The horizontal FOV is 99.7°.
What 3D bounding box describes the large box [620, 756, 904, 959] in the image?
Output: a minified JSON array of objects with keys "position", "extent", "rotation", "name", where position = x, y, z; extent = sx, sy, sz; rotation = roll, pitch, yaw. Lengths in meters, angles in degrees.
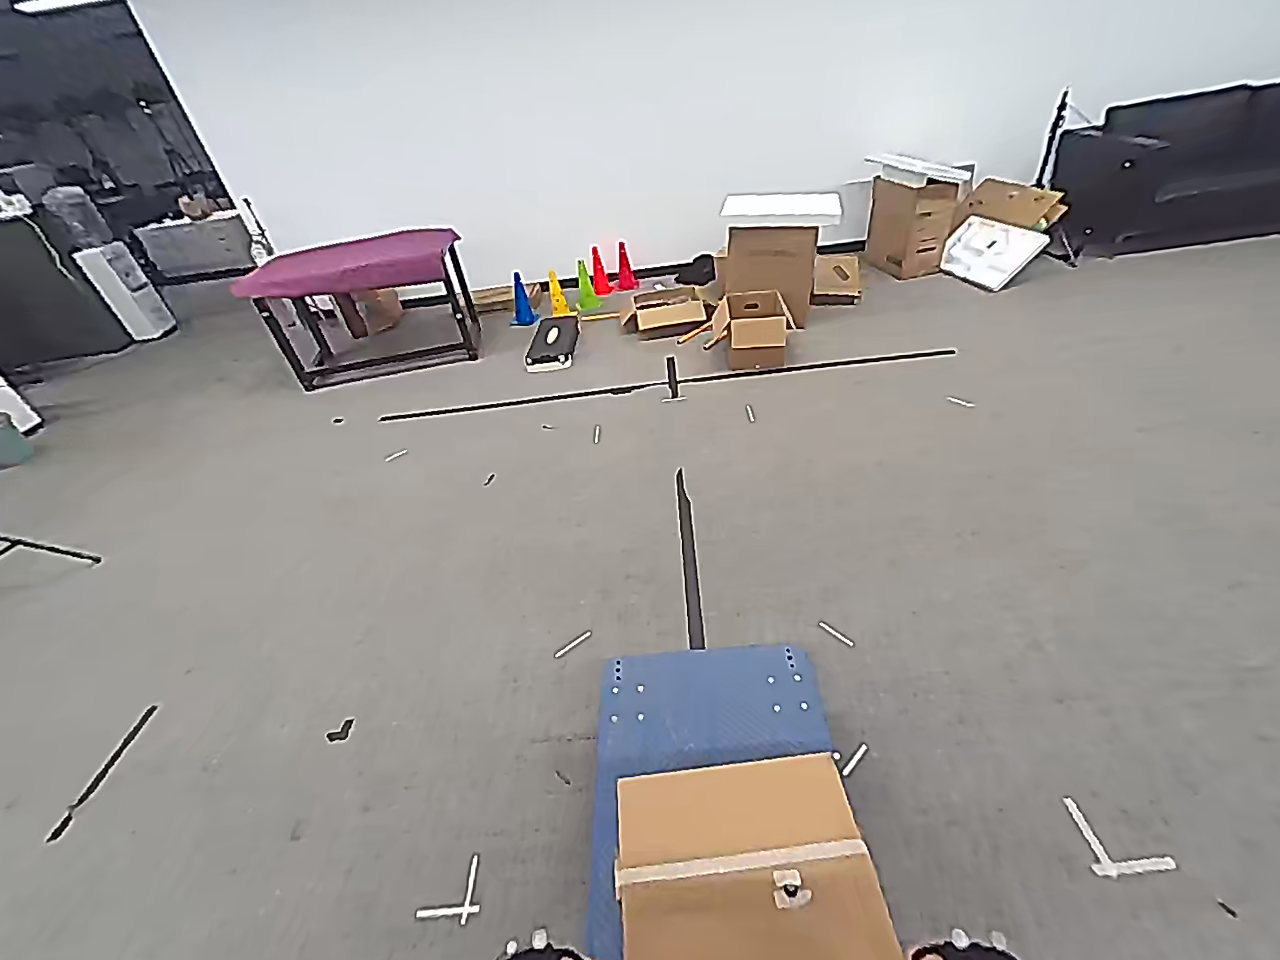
[{"position":[0.186,0.752,0.979],"extent":[0.408,0.320,0.320],"rotation":[-7,38,0],"name":"large box"}]
